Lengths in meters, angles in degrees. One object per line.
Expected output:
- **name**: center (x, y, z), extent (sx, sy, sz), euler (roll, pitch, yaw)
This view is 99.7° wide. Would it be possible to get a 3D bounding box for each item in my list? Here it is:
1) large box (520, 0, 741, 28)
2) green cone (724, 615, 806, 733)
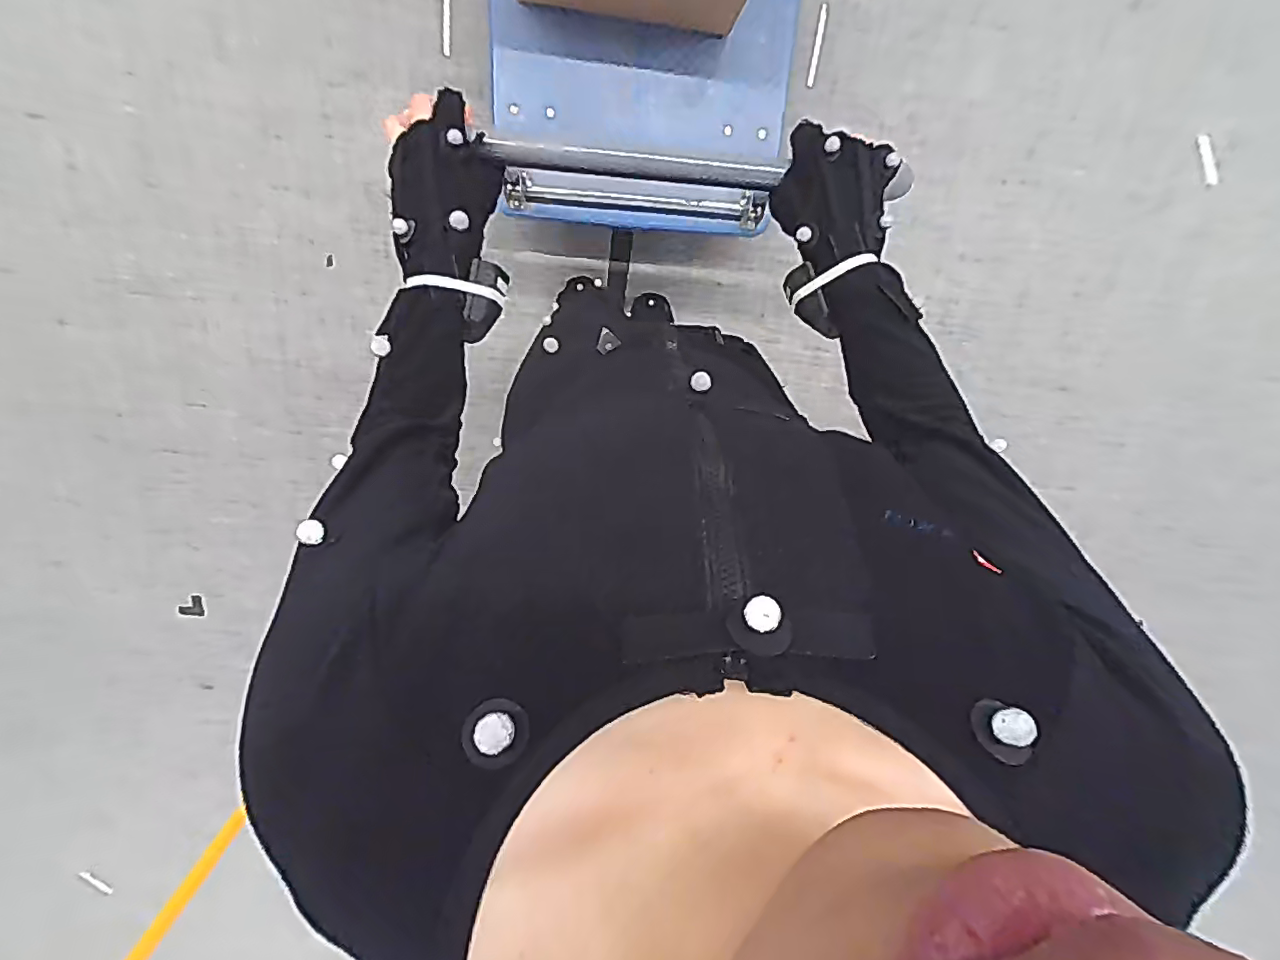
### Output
- **large box**: center (-0.009, -0.961, 0.831), extent (0.408, 0.320, 0.320), euler (5, 110, -4)
- **green cone**: center (0.393, 0.584, 1.567), extent (0.202, 0.368, 0.200), euler (8, 109, -7)
